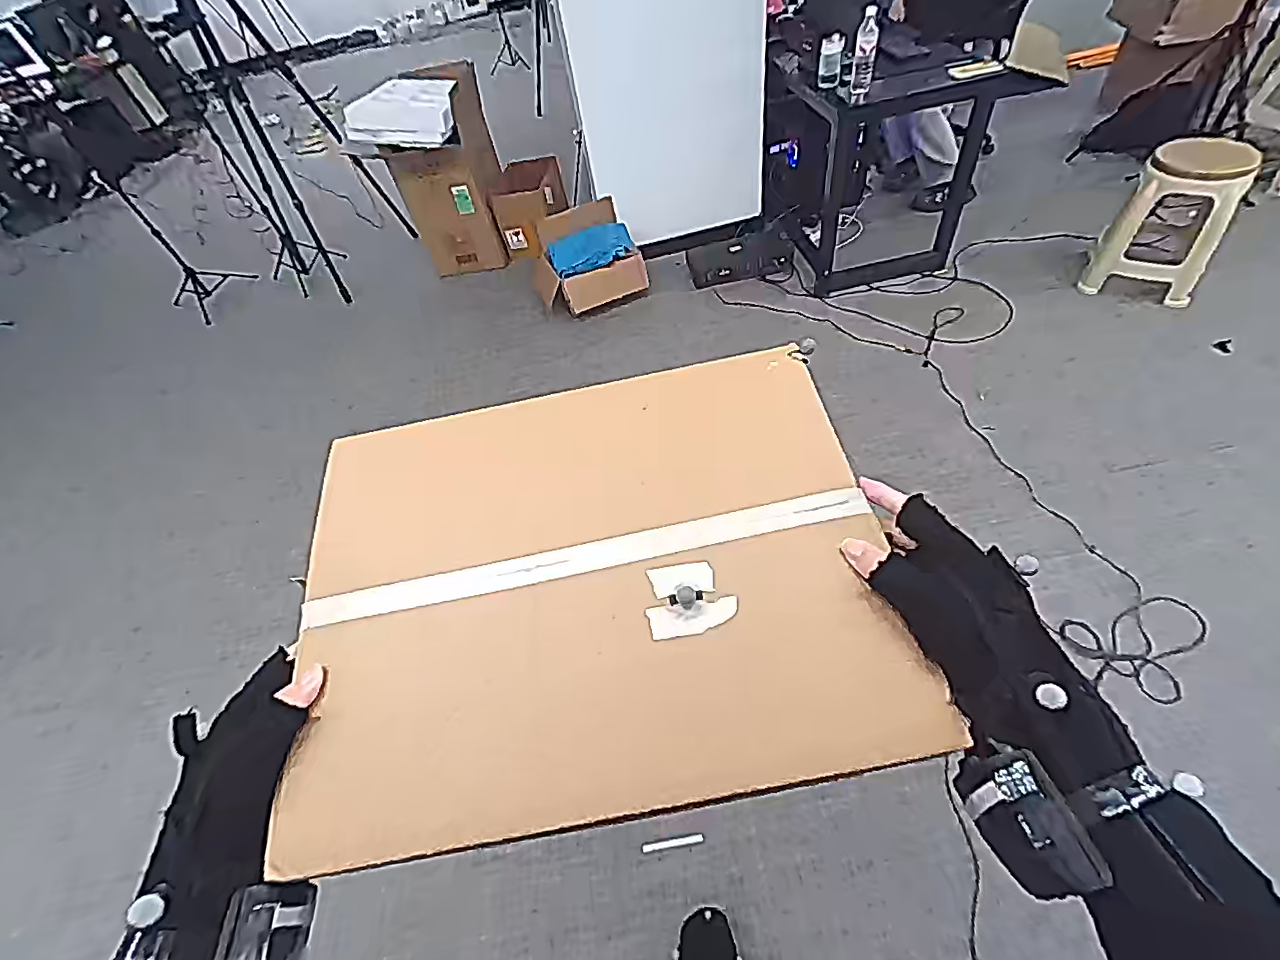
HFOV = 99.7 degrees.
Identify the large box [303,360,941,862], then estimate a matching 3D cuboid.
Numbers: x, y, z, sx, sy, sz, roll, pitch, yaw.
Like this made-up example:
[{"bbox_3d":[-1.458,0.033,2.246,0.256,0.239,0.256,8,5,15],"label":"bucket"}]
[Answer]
[{"bbox_3d":[-0.021,0.137,0.527,0.408,0.320,0.320,-12,59,1],"label":"large box"}]
